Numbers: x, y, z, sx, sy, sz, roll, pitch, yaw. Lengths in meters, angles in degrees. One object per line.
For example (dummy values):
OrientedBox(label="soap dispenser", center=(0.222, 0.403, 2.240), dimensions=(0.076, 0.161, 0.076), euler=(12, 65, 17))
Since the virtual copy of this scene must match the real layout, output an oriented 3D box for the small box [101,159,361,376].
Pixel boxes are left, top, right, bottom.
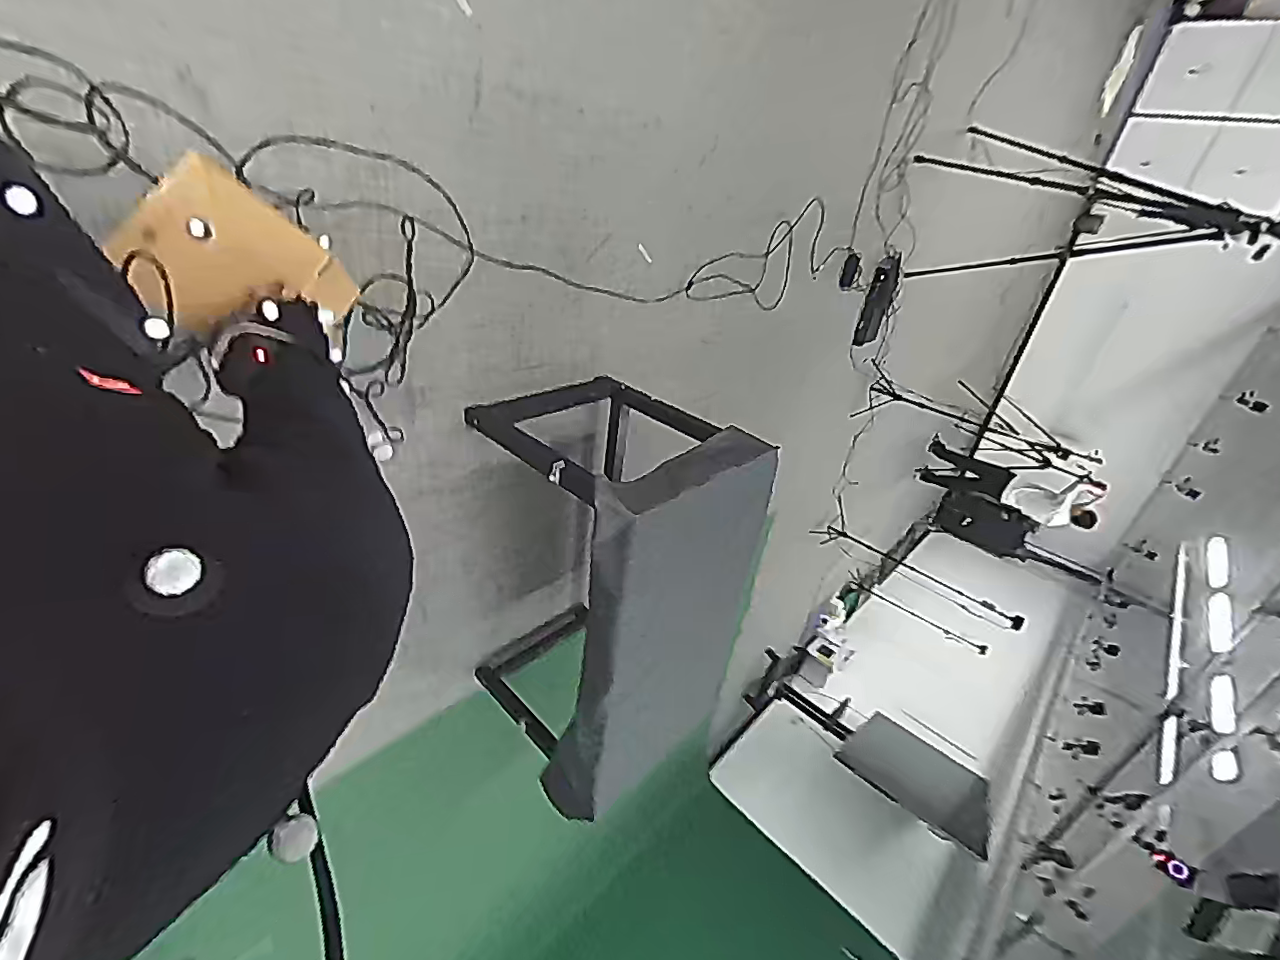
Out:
OrientedBox(label="small box", center=(-0.490, -0.254, 0.678), dimensions=(0.176, 0.179, 0.168), euler=(38, 82, -17))
